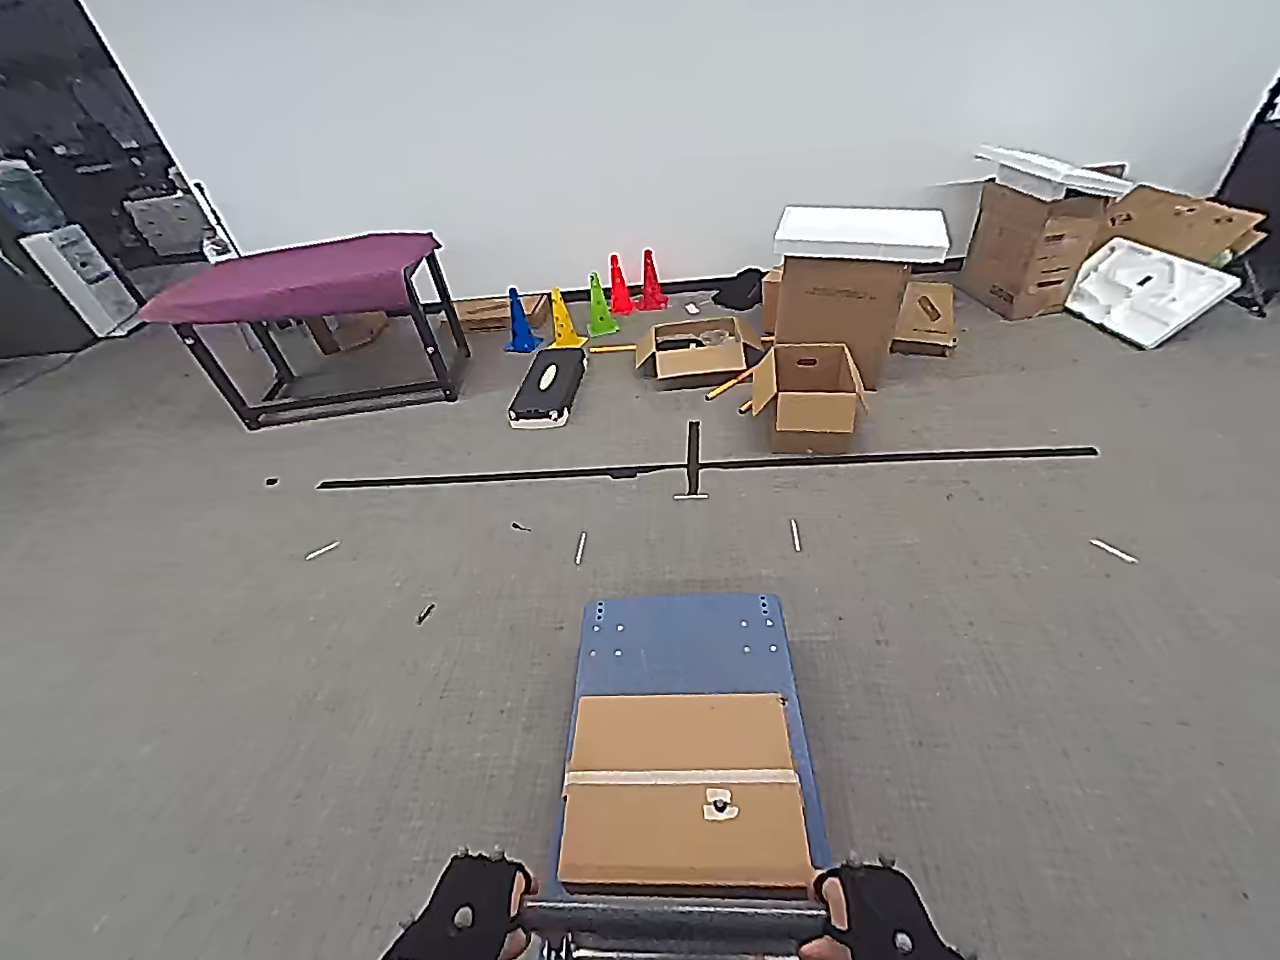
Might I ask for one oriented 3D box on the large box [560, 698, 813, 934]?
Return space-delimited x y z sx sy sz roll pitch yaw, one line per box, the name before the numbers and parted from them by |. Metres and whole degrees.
large box | 0.084 0.647 1.045 0.408 0.320 0.320 -3 41 5
